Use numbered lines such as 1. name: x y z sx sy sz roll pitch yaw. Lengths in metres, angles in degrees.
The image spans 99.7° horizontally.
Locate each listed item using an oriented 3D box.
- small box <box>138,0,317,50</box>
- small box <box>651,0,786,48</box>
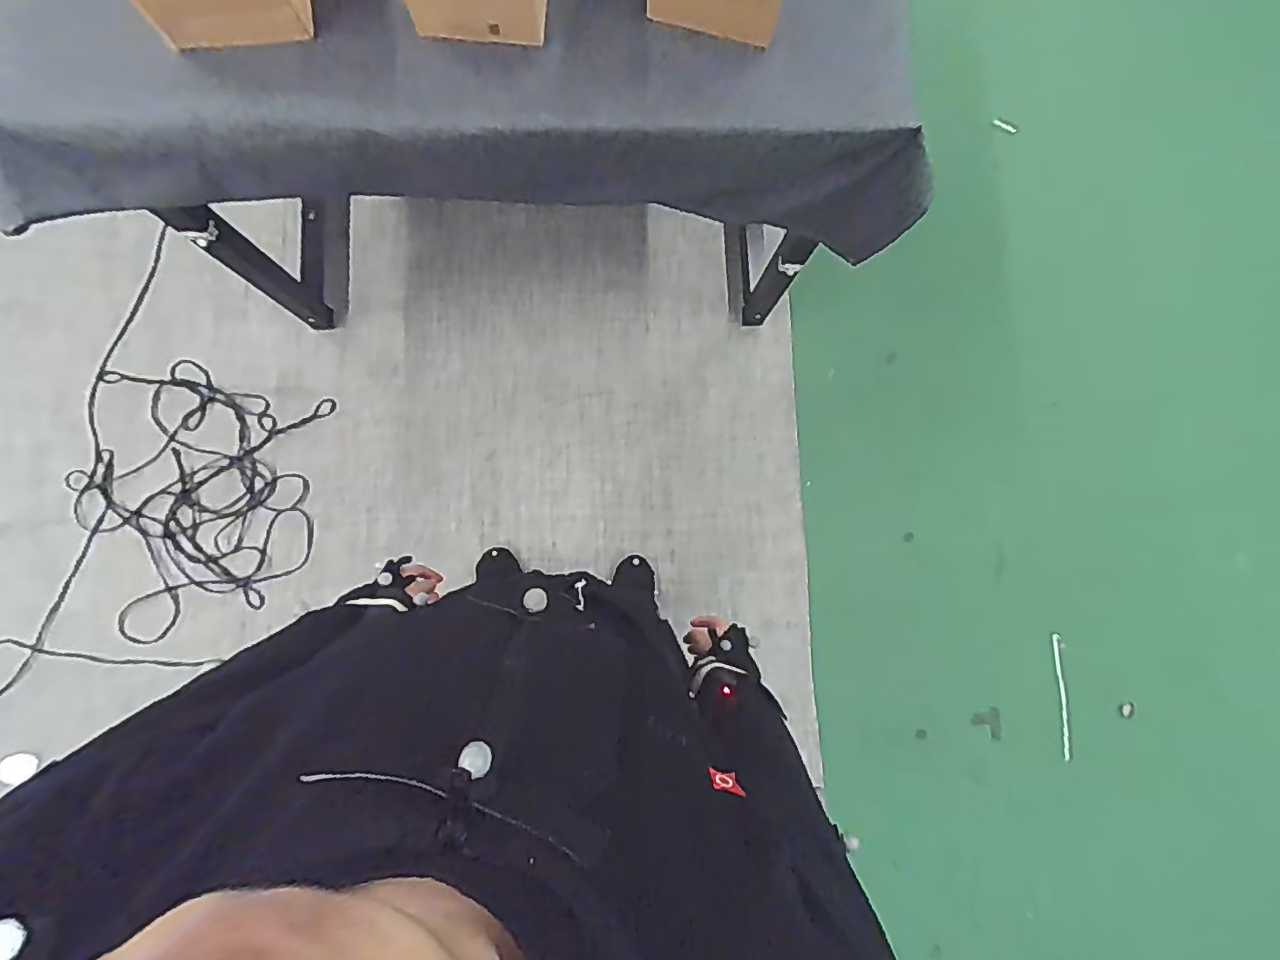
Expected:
1. small box: -0.512 -0.643 0.626 0.179 0.176 0.168 -9 83 -6
2. small box: 0.118 -0.694 0.676 0.179 0.176 0.168 12 81 -1
